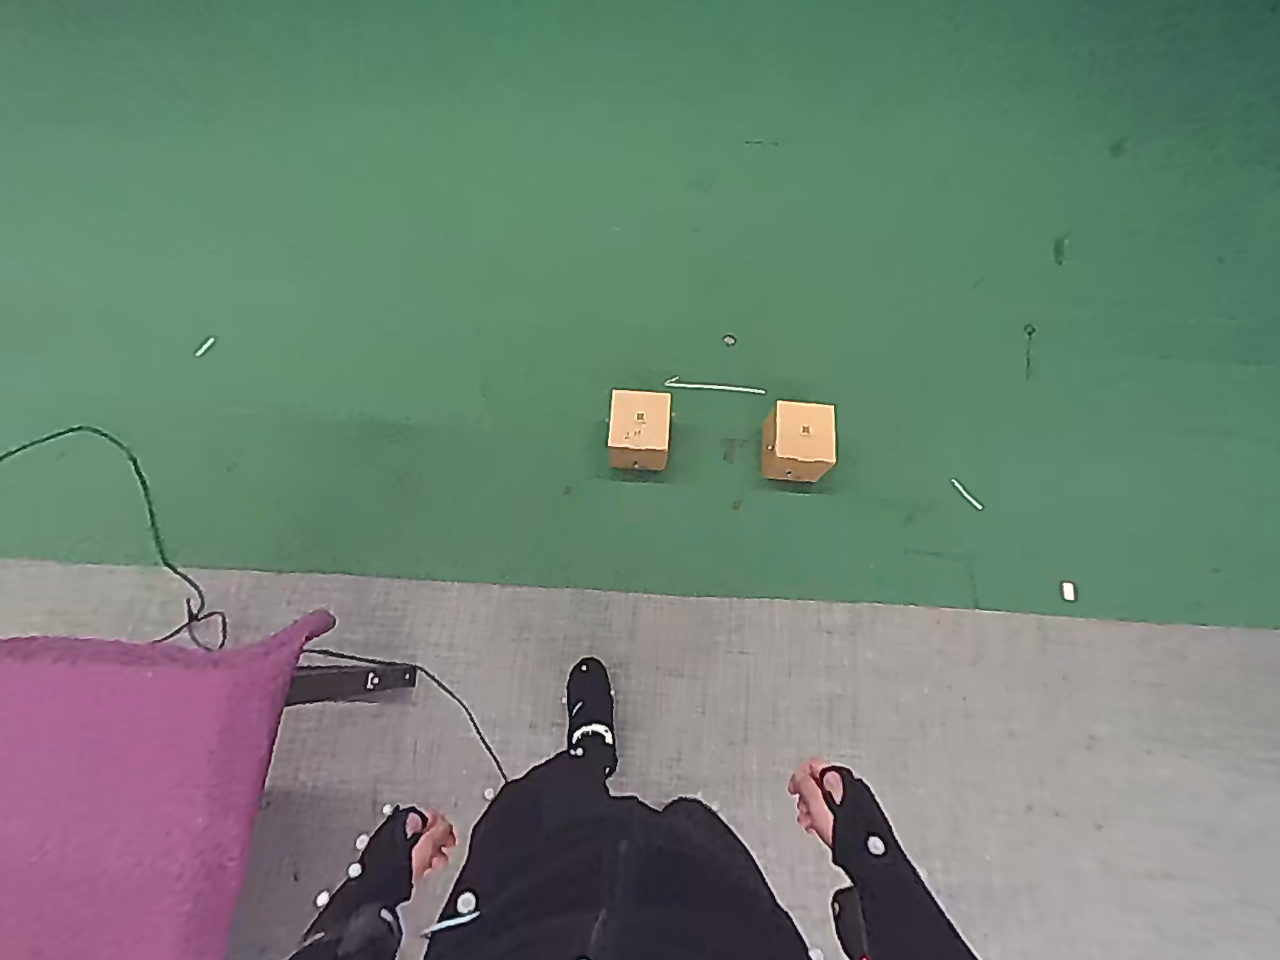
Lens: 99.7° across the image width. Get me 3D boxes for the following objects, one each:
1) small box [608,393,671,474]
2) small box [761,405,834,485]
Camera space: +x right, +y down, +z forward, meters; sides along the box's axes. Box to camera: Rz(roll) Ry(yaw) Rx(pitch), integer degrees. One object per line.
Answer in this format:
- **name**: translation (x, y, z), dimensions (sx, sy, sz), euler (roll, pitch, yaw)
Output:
- **small box**: translation (-0.003, -0.132, 1.567), dimensions (0.168, 0.176, 0.179), euler (4, 71, 0)
- **small box**: translation (0.453, -0.098, 1.573), dimensions (0.168, 0.176, 0.179), euler (5, 72, -1)
